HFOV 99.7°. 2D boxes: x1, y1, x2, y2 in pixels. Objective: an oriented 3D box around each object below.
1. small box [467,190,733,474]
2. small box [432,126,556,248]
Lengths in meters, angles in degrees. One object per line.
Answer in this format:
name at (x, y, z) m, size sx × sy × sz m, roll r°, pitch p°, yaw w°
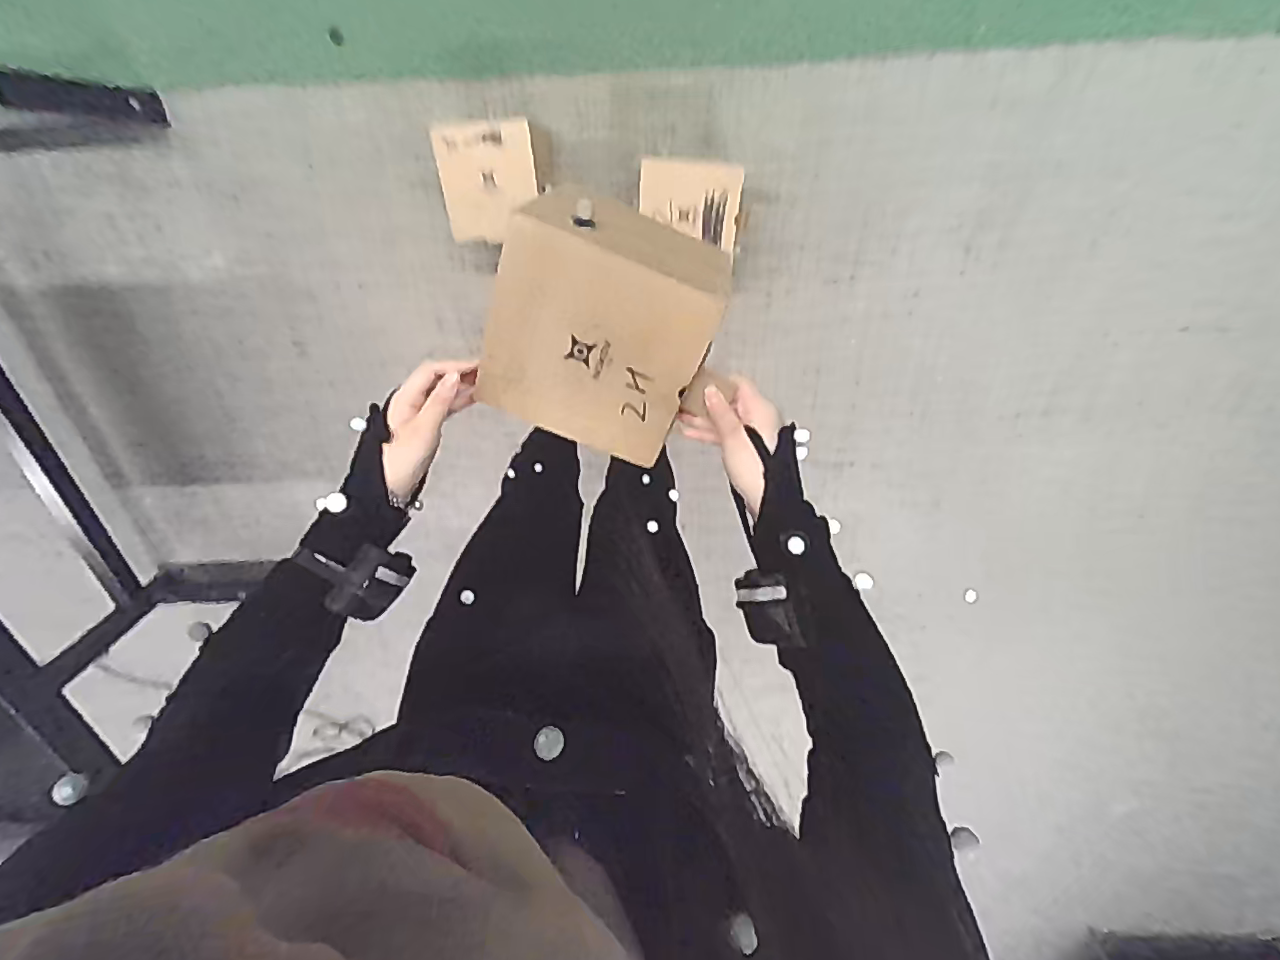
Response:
small box at (-0.029, -0.140, 0.487) m, size 0.179 × 0.176 × 0.168 m, roll 21°, pitch 127°, yaw -5°
small box at (-0.246, -0.528, 0.977) m, size 0.168 × 0.176 × 0.179 m, roll -2°, pitch 120°, yaw 4°
